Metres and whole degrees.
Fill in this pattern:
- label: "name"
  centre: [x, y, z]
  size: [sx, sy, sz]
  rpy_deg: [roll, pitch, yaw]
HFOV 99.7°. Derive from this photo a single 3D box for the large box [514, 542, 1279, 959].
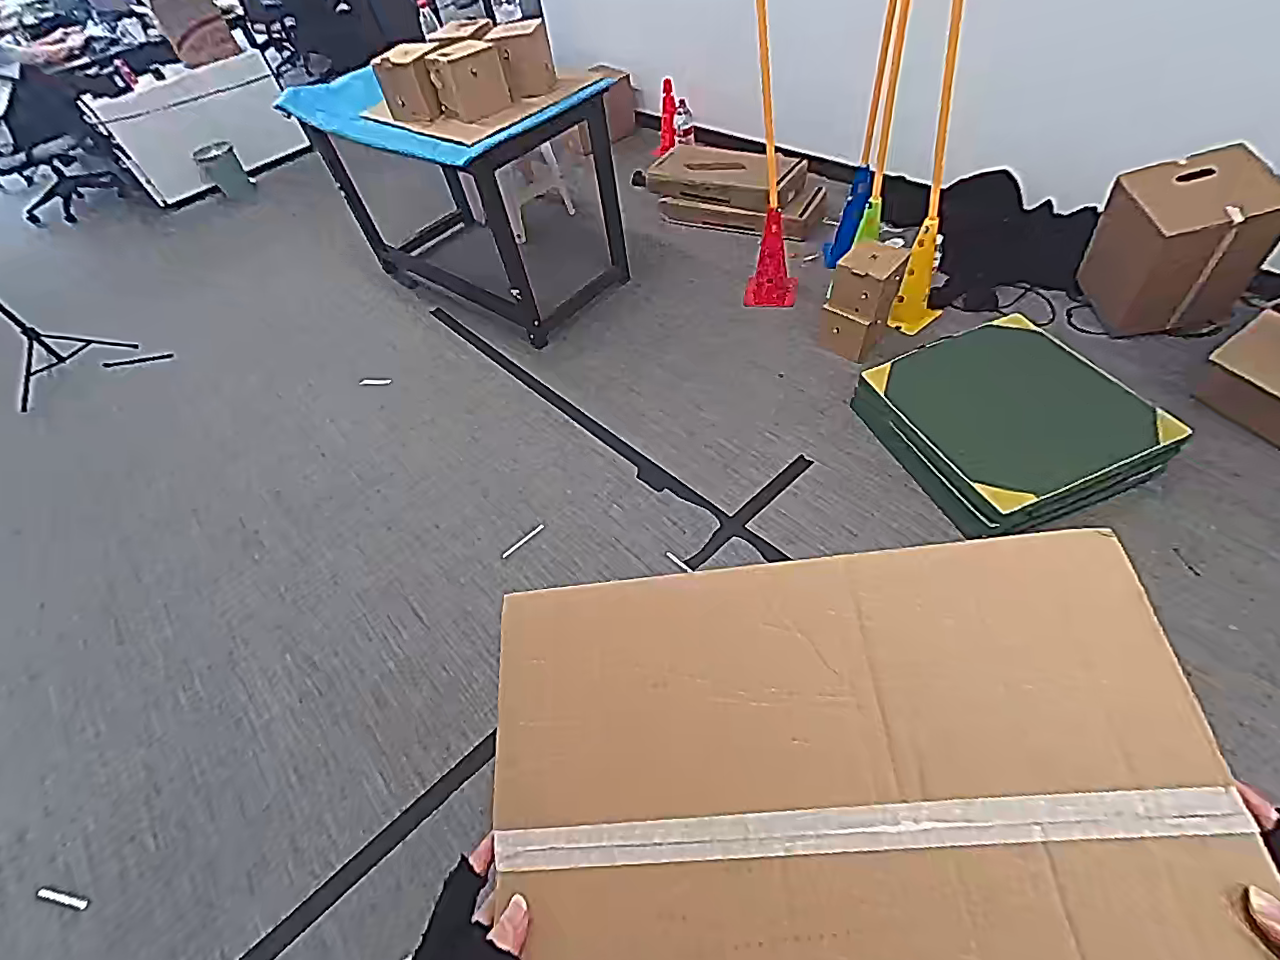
- label: "large box"
  centre: [0.141, 0.268, 0.447]
  size: [0.408, 0.320, 0.320]
  rpy_deg: [-8, 65, 7]
